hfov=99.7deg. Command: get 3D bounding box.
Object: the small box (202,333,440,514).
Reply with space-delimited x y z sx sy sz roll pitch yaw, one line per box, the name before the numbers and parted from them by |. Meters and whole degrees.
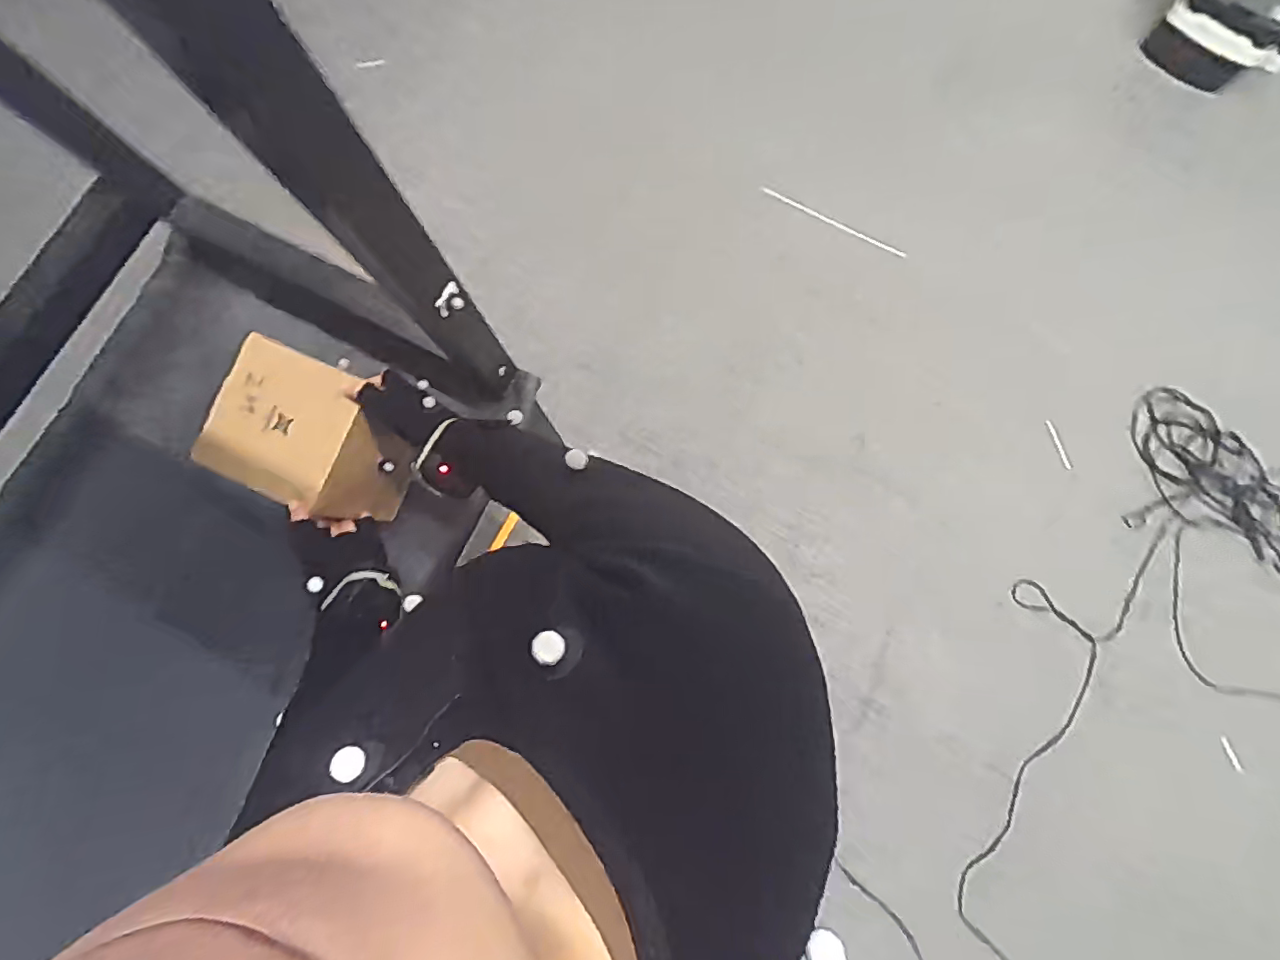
small box | -0.397 -0.062 0.707 0.179 0.176 0.168 23 86 9
